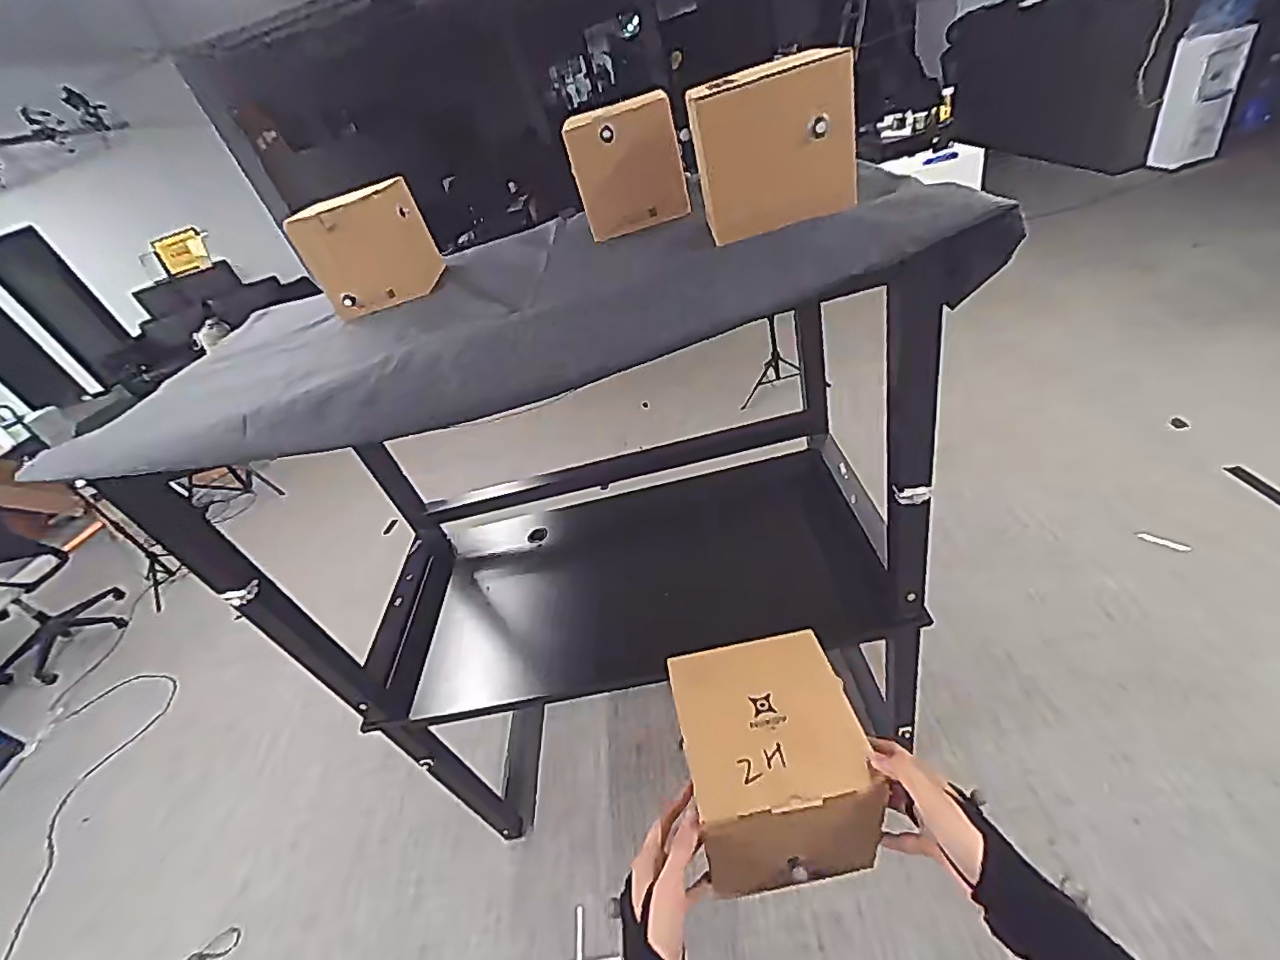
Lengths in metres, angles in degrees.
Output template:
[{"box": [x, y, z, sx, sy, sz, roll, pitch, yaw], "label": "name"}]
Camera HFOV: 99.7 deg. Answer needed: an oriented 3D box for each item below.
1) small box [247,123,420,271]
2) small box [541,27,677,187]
[{"box": [-0.498, -0.473, 0.912, 0.168, 0.176, 0.179, -16, 38, 4], "label": "small box"}, {"box": [-0.043, -0.588, 0.862, 0.168, 0.176, 0.179, -14, 38, 8], "label": "small box"}]
